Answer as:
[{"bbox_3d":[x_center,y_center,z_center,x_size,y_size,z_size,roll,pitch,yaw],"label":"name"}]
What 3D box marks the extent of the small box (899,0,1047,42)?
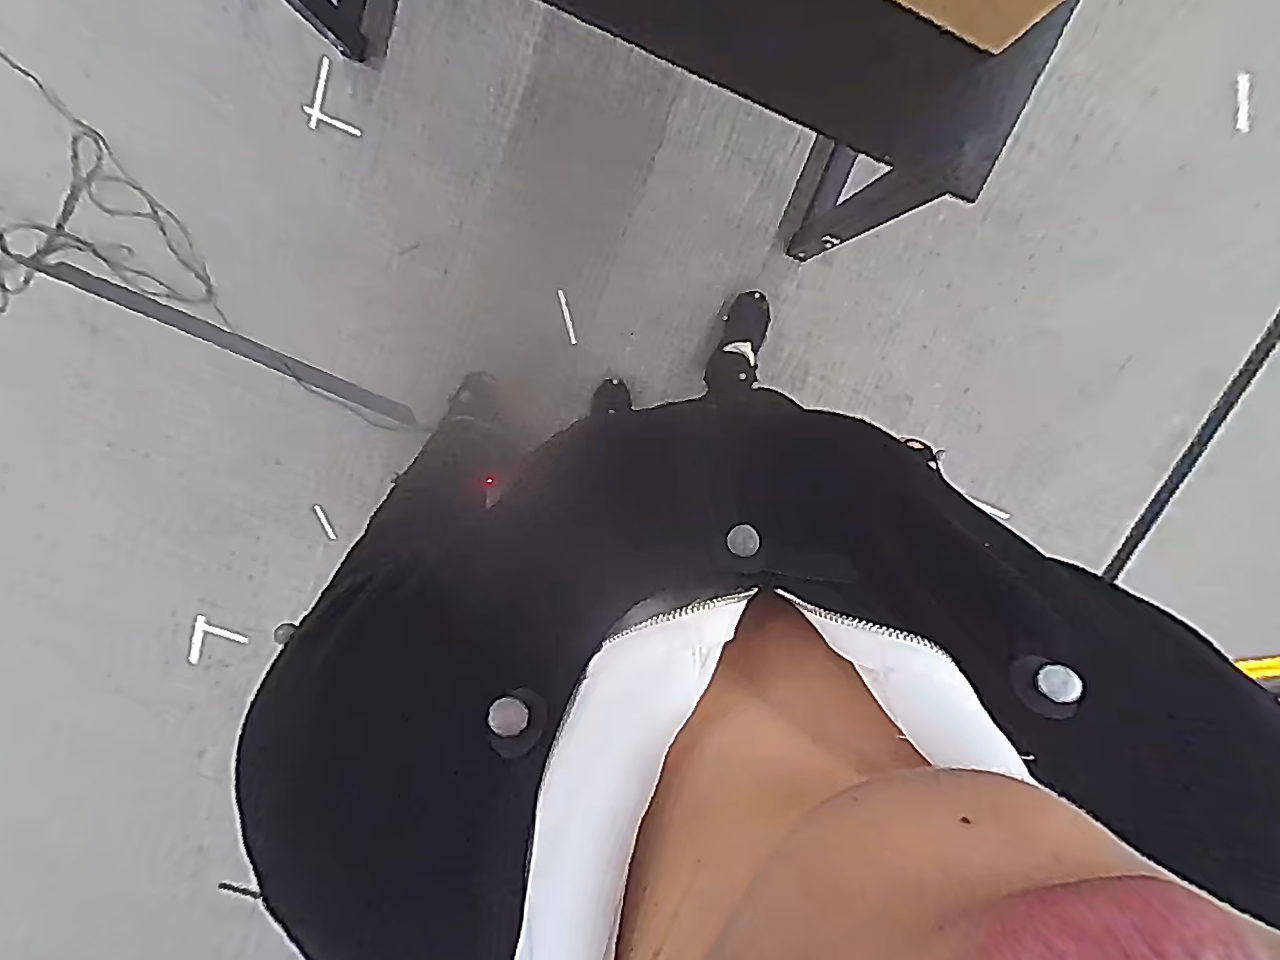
[{"bbox_3d":[0.358,-0.574,0.515,0.179,0.176,0.168,23,103,-4],"label":"small box"}]
